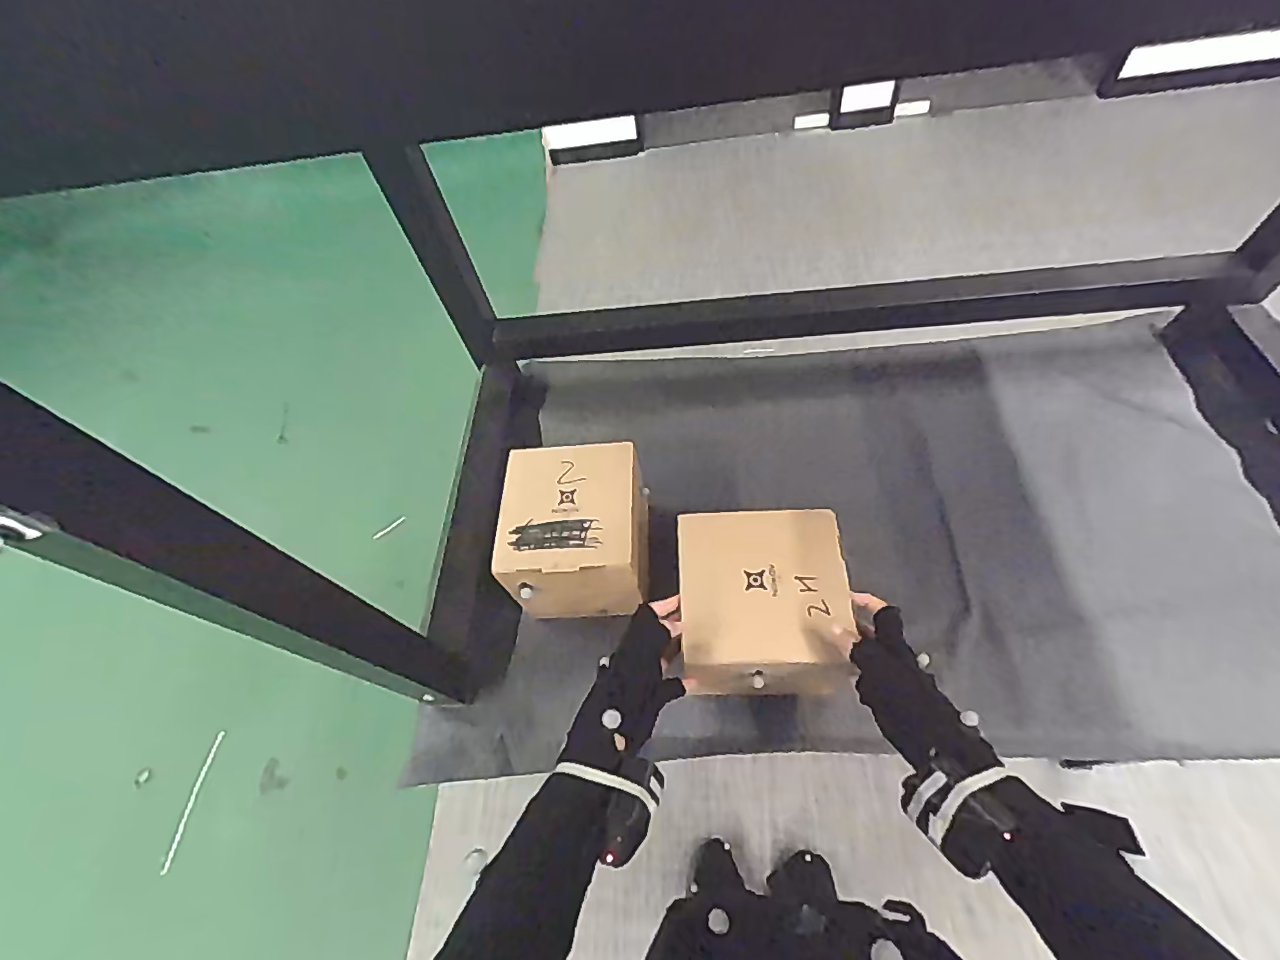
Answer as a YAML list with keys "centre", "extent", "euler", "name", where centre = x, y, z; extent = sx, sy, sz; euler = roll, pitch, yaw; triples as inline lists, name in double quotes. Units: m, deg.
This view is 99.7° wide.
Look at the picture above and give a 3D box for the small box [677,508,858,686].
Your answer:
- centre: [0.136, 0.146, 0.643]
  extent: [0.179, 0.176, 0.168]
  euler: [-2, 60, 4]
  name: "small box"
